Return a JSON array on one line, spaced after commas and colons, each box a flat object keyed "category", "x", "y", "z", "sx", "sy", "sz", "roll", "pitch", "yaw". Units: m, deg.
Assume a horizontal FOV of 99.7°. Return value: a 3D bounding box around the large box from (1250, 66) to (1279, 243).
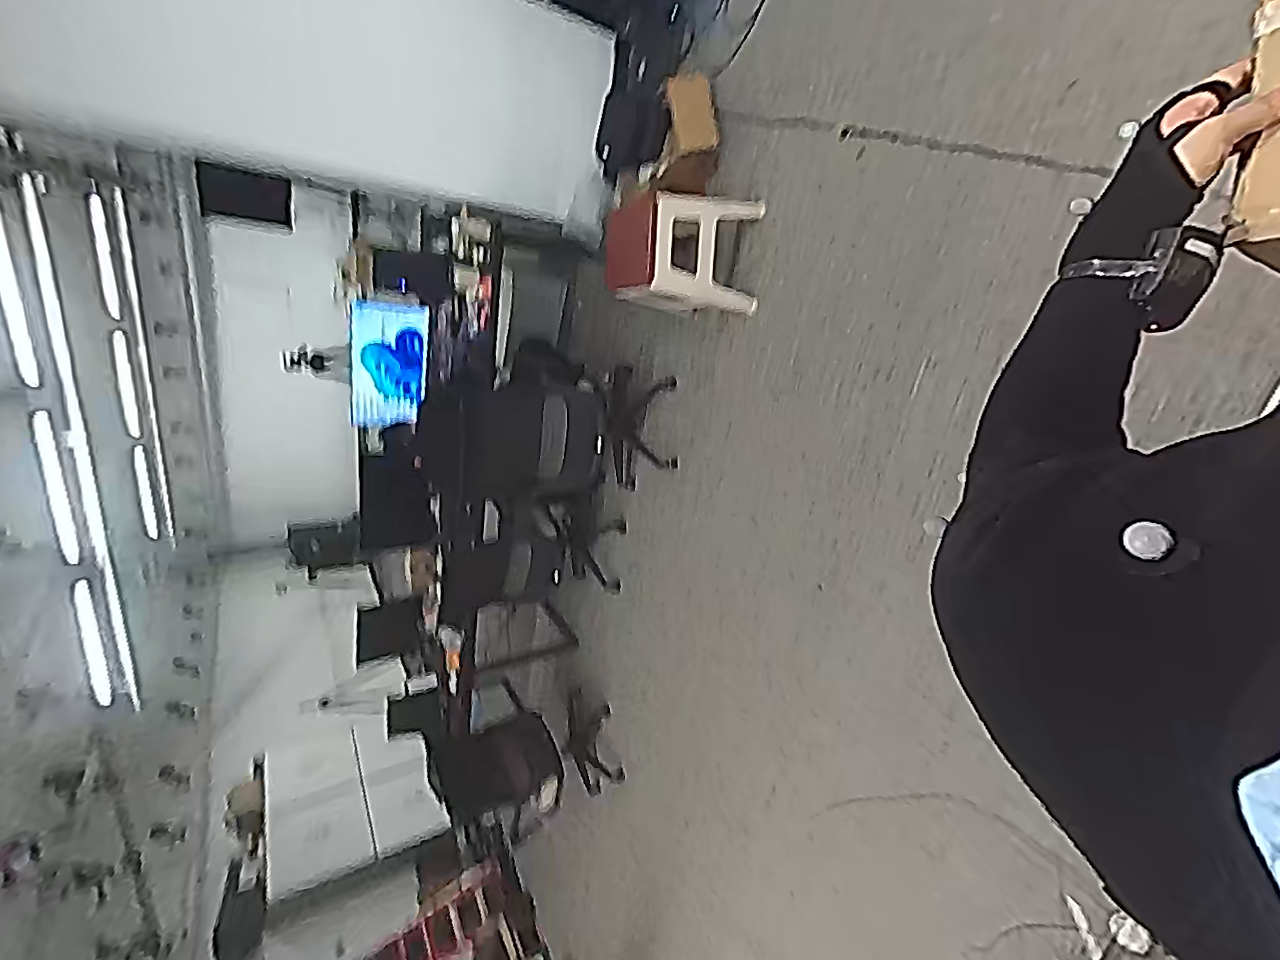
[{"category": "large box", "x": 0.699, "y": -0.322, "z": 0.295, "sx": 0.408, "sy": 0.320, "sz": 0.320, "roll": 18, "pitch": 109, "yaw": 58}]
